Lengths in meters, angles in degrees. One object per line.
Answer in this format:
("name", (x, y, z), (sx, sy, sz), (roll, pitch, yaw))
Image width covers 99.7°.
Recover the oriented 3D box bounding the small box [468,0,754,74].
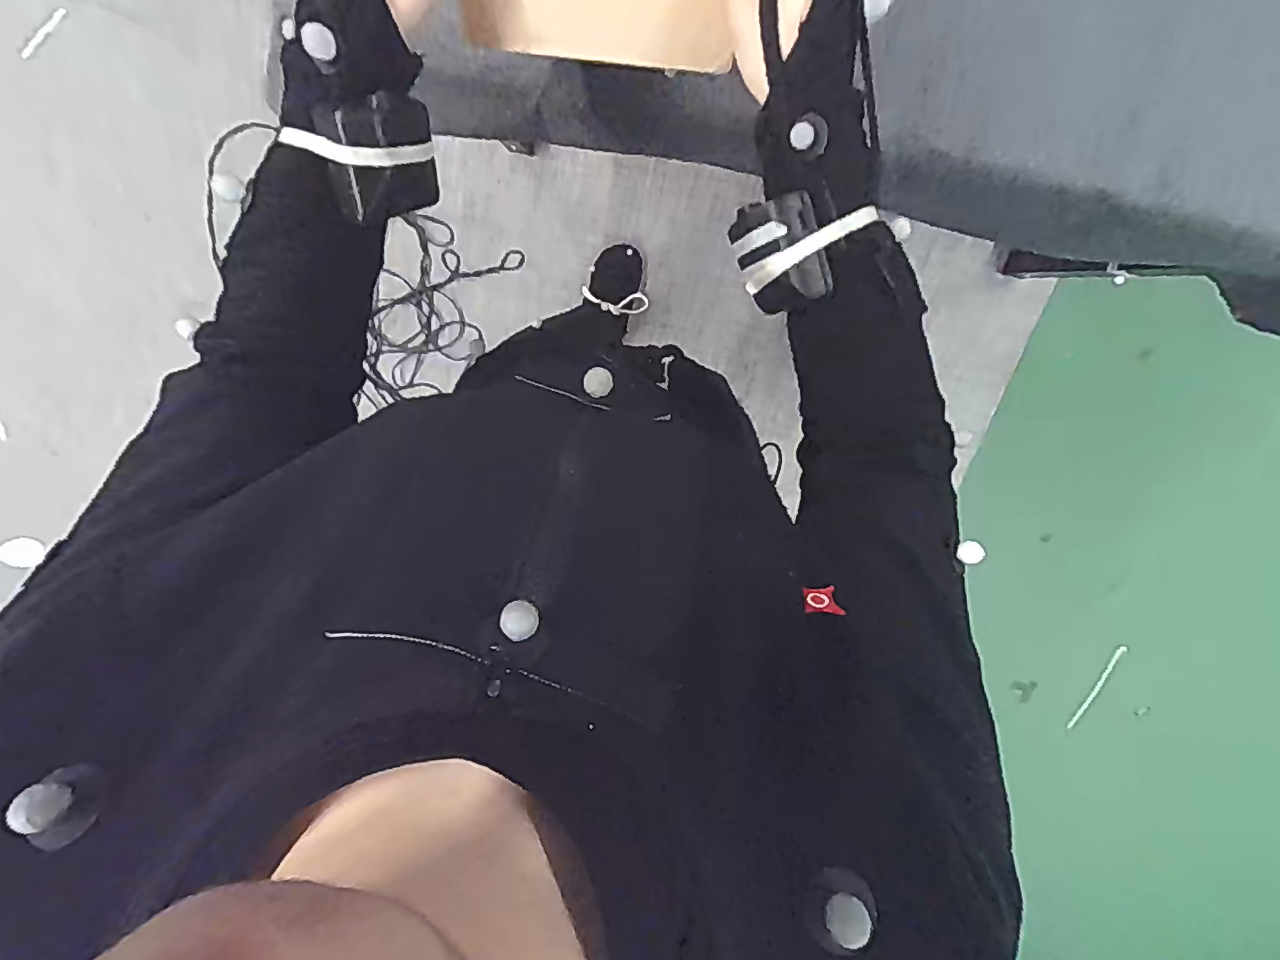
("small box", (-0.007, -0.381, 0.346), (0.179, 0.176, 0.168), (8, 134, 4))
